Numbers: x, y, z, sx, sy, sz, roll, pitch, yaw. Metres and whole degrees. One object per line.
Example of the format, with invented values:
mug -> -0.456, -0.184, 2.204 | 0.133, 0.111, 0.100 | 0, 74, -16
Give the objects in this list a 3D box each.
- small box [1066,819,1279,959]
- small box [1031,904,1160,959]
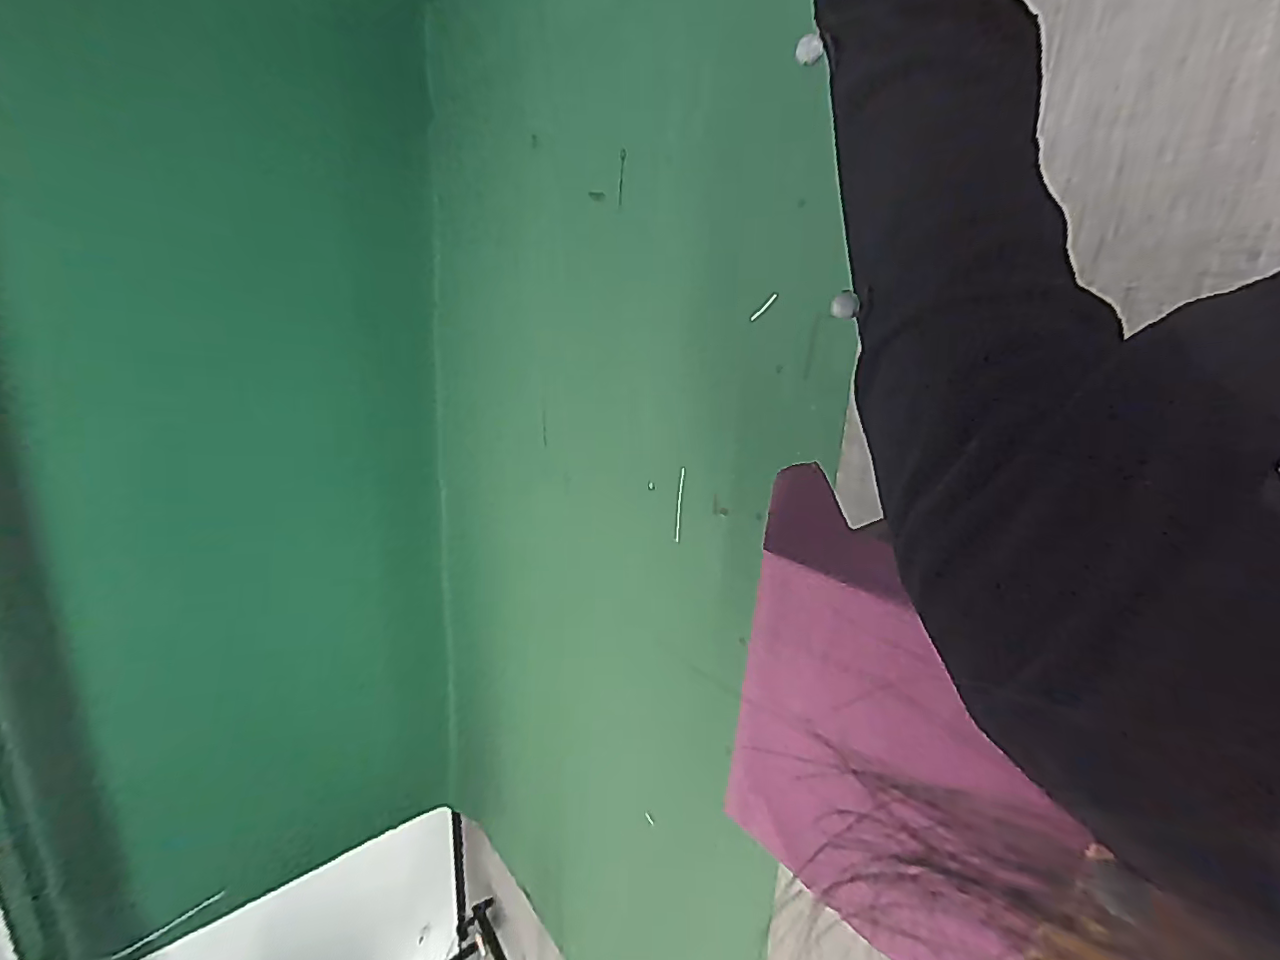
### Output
small box -> 0.556, 0.516, 0.569 | 0.168, 0.176, 0.179 | 26, 117, 43
small box -> 0.429, 0.539, 0.471 | 0.179, 0.176, 0.168 | 24, 116, 44
